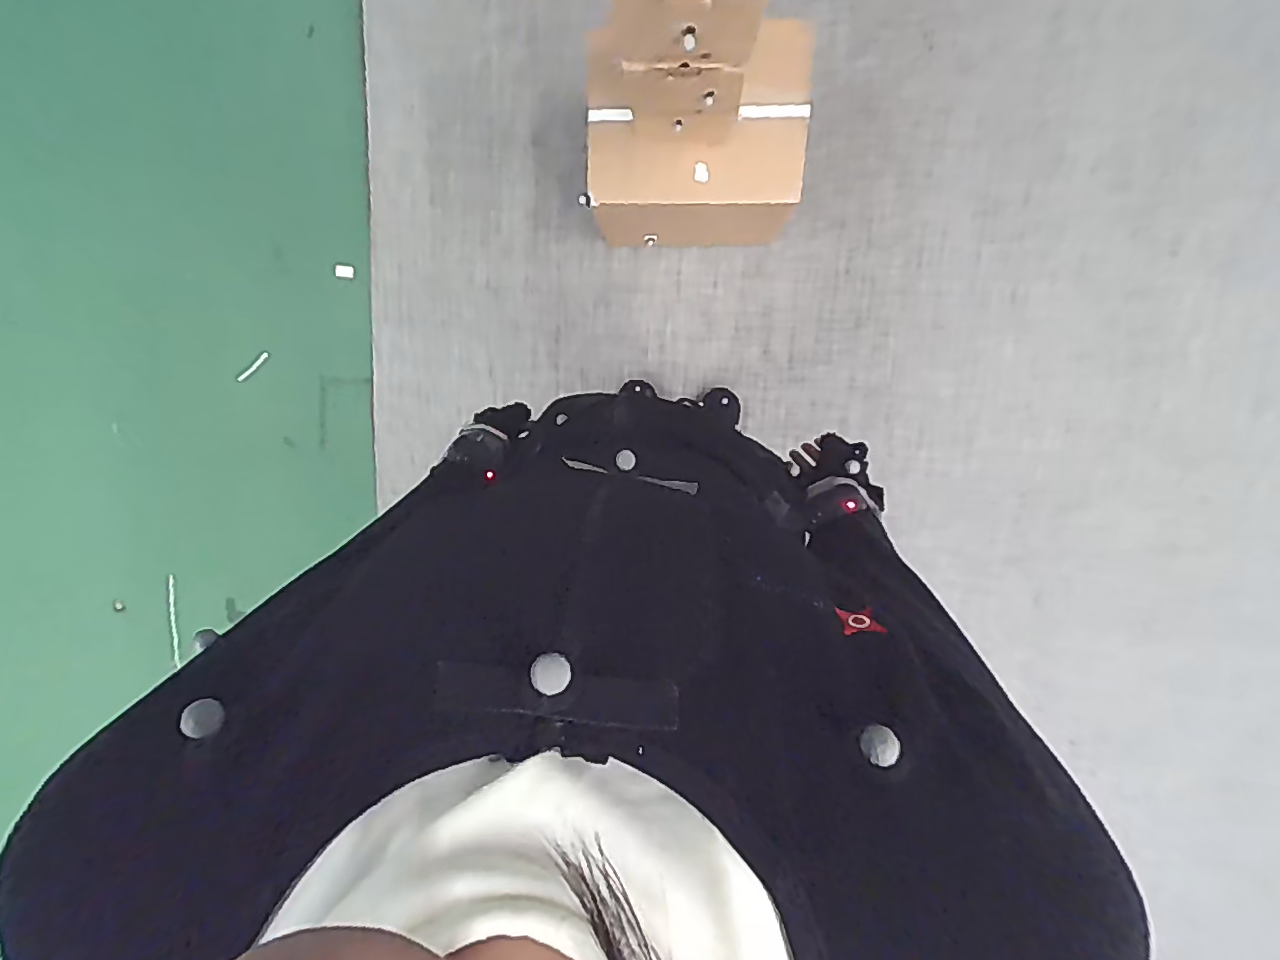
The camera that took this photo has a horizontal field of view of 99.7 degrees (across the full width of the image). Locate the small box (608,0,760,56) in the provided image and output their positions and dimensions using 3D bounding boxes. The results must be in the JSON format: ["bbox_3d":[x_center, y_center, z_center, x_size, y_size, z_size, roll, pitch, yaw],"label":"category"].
[{"bbox_3d":[0.055,-0.601,0.595,0.168,0.176,0.179,3,107,3],"label":"small box"}]

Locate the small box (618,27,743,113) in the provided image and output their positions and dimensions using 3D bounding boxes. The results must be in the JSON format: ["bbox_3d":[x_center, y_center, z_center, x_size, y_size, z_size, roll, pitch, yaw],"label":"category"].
[{"bbox_3d":[0.061,-0.639,0.755,0.168,0.176,0.179,2,105,3],"label":"small box"}]
